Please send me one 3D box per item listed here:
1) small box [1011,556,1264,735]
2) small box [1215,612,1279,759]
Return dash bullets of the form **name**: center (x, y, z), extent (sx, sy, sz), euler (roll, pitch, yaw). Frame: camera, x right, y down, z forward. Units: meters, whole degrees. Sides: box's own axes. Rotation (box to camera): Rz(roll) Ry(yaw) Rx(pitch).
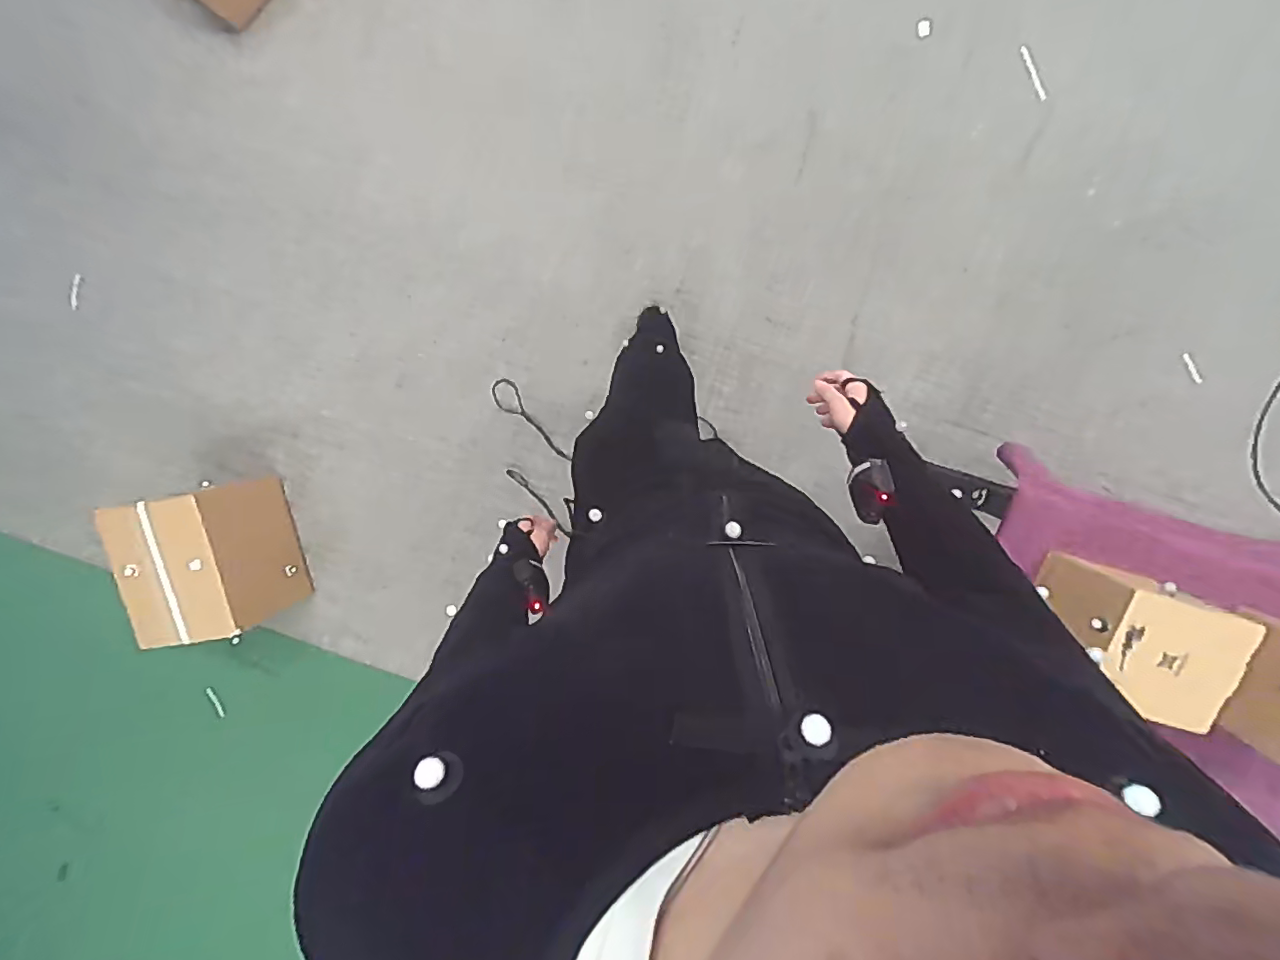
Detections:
- **small box**: center (0.698, 0.227, 0.784), extent (0.179, 0.176, 0.168), euler (16, 101, 0)
- **small box**: center (0.974, 0.318, 0.780), extent (0.168, 0.176, 0.179), euler (19, 102, 1)
